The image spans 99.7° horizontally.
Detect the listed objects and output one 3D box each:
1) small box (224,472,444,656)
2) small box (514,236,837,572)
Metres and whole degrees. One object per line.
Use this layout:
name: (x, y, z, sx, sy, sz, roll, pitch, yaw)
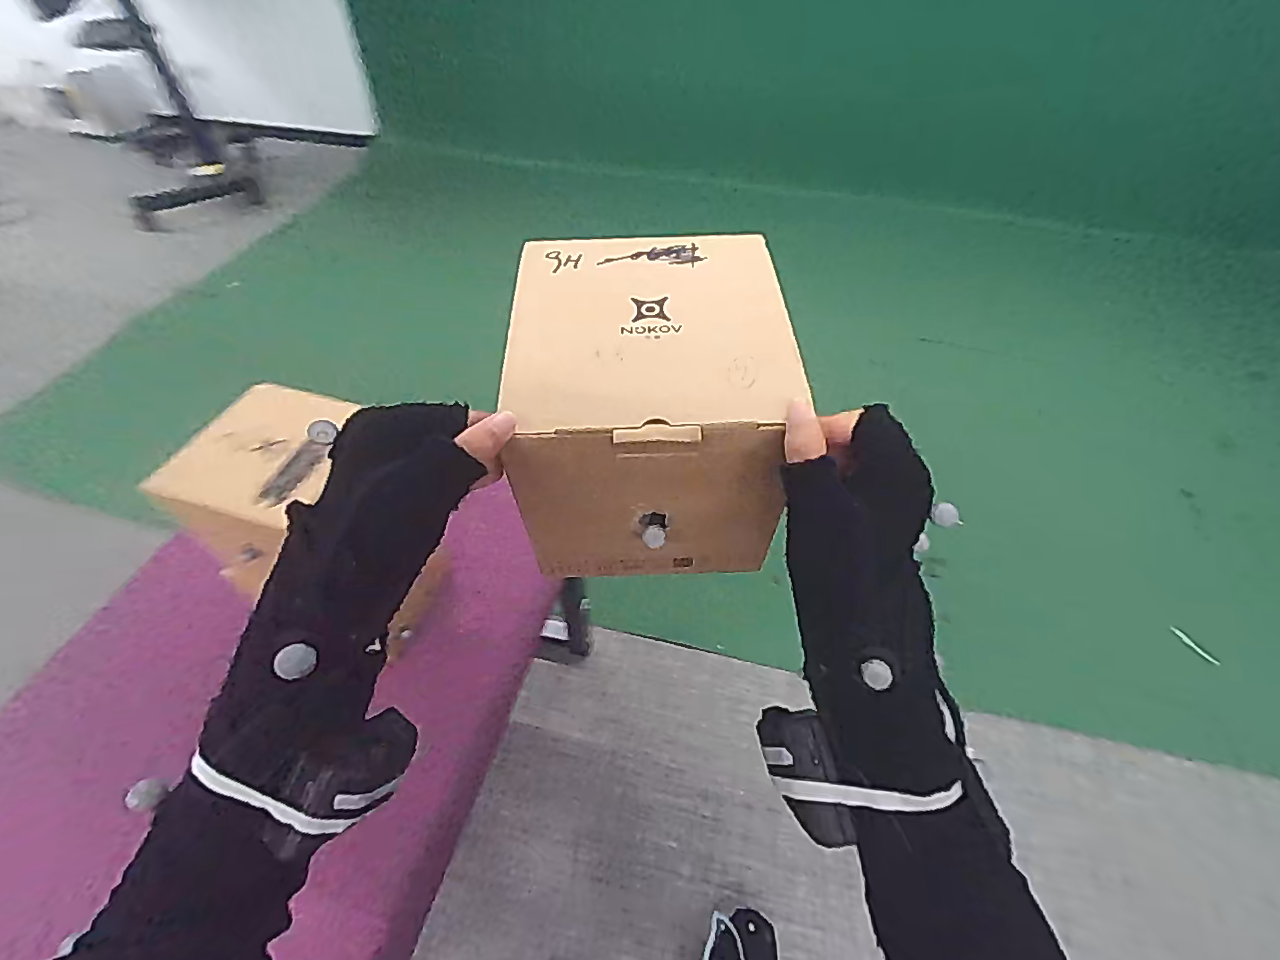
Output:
small box: (-0.399, 0.121, 0.746, 0.179, 0.176, 0.168, 15, 50, 11)
small box: (0.019, -0.044, 0.380, 0.168, 0.176, 0.179, 0, 55, 0)
